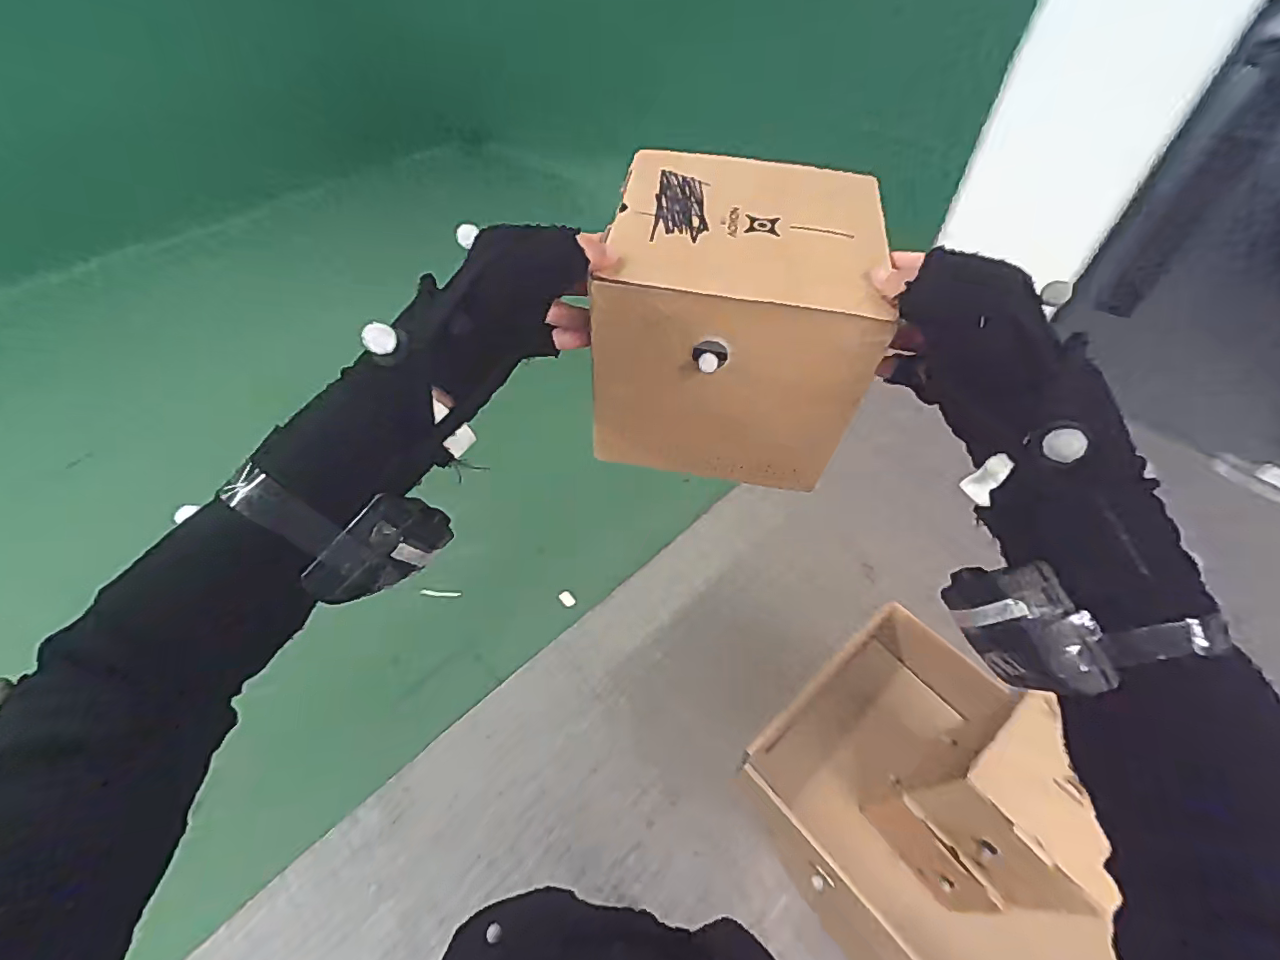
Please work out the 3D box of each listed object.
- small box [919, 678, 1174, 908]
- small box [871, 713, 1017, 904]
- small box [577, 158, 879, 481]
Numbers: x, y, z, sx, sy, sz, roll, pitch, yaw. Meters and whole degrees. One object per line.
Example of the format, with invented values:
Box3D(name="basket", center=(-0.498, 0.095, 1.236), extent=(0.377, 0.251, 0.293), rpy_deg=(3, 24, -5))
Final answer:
Box3D(name="small box", center=(0.487, 0.389, 0.681), extent=(0.179, 0.176, 0.168), rpy_deg=(-33, 62, -21))
Box3D(name="small box", center=(0.477, 0.491, 0.810), extent=(0.179, 0.176, 0.168), rpy_deg=(-32, 61, -24))
Box3D(name="small box", center=(0.057, -0.116, 0.416), extent=(0.179, 0.176, 0.168), rpy_deg=(9, 55, 3))
